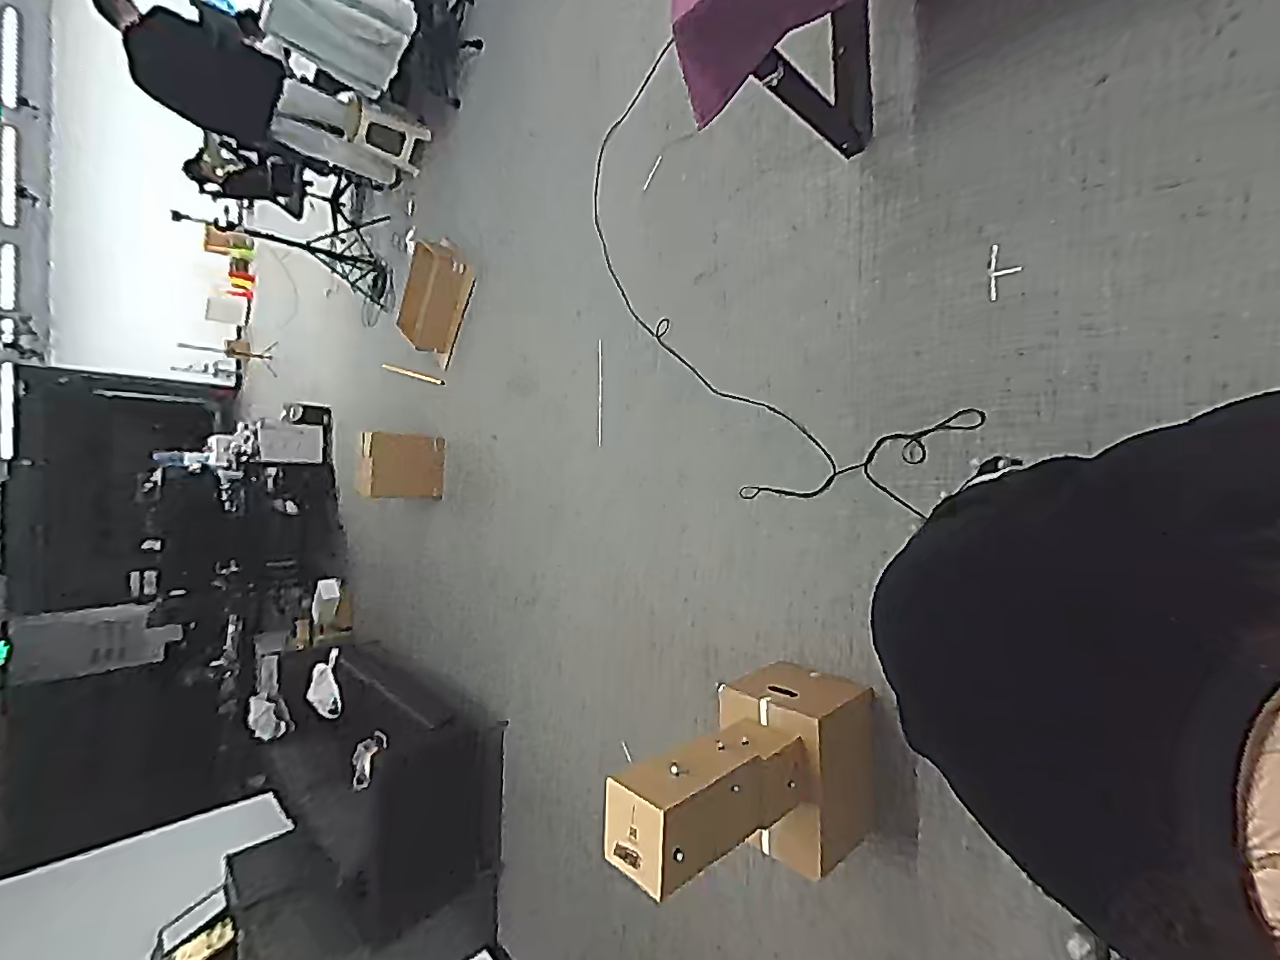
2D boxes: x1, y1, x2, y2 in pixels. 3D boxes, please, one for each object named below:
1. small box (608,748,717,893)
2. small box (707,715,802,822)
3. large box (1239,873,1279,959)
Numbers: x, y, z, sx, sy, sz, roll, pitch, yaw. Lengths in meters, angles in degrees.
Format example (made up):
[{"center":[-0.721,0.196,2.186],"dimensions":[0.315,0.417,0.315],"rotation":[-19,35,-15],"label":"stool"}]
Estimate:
[{"center":[0.049,0.705,1.143],"dimensions":[0.168,0.176,0.179],"rotation":[2,90,45],"label":"small box"},{"center":[0.289,0.717,1.369],"dimensions":[0.179,0.176,0.168],"rotation":[-2,88,45],"label":"small box"},{"center":[1.154,0.937,0.819],"dimensions":[0.320,0.320,0.408],"rotation":[0,91,46],"label":"large box"}]
